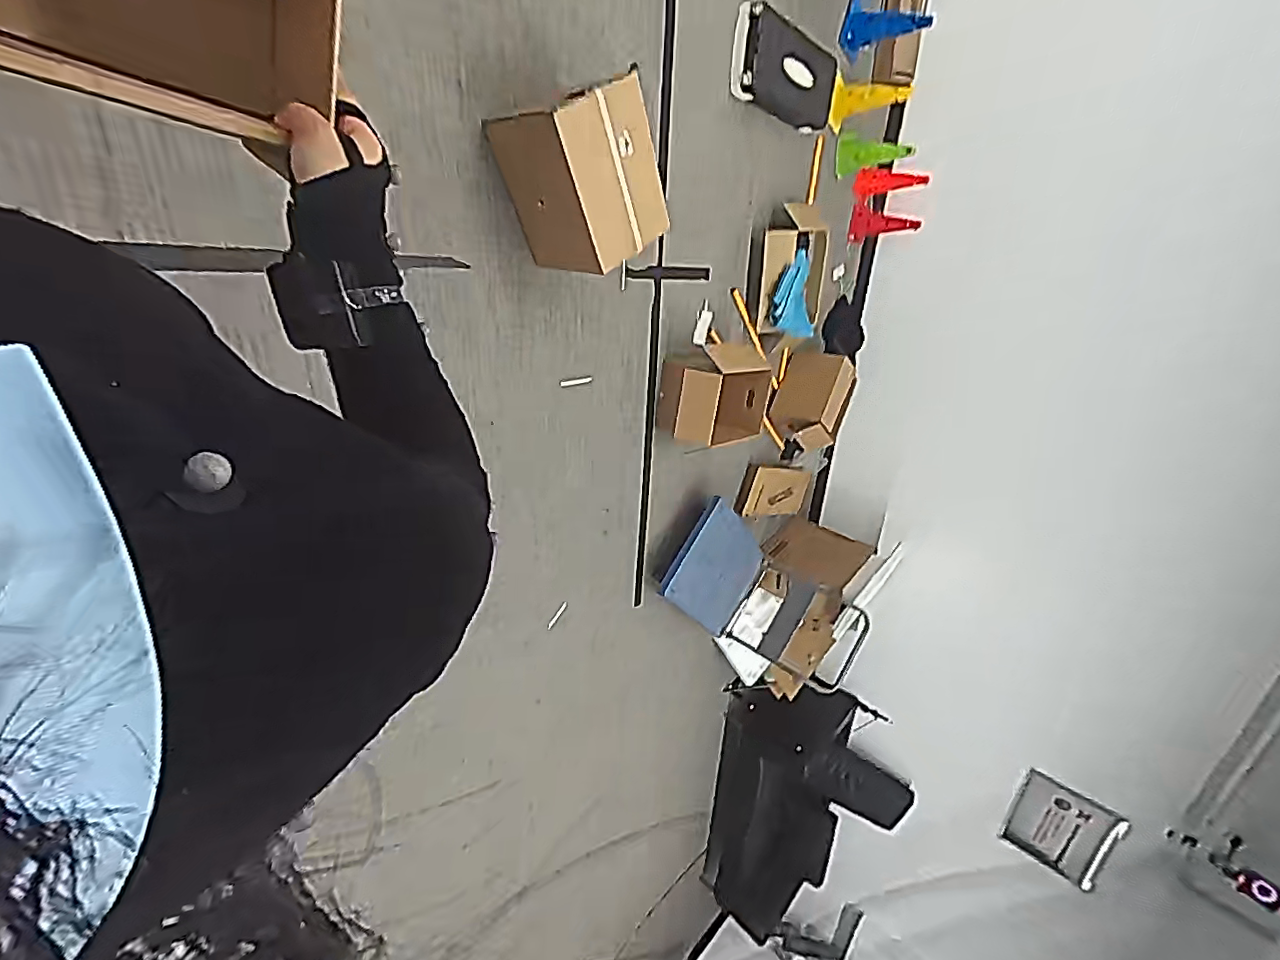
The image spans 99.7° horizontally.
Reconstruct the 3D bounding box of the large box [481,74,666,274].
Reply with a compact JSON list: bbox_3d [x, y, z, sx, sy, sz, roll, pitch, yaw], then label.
[{"bbox_3d":[-0.177,-0.858,1.551,0.320,0.320,0.408,-46,137,-26],"label":"large box"}]
